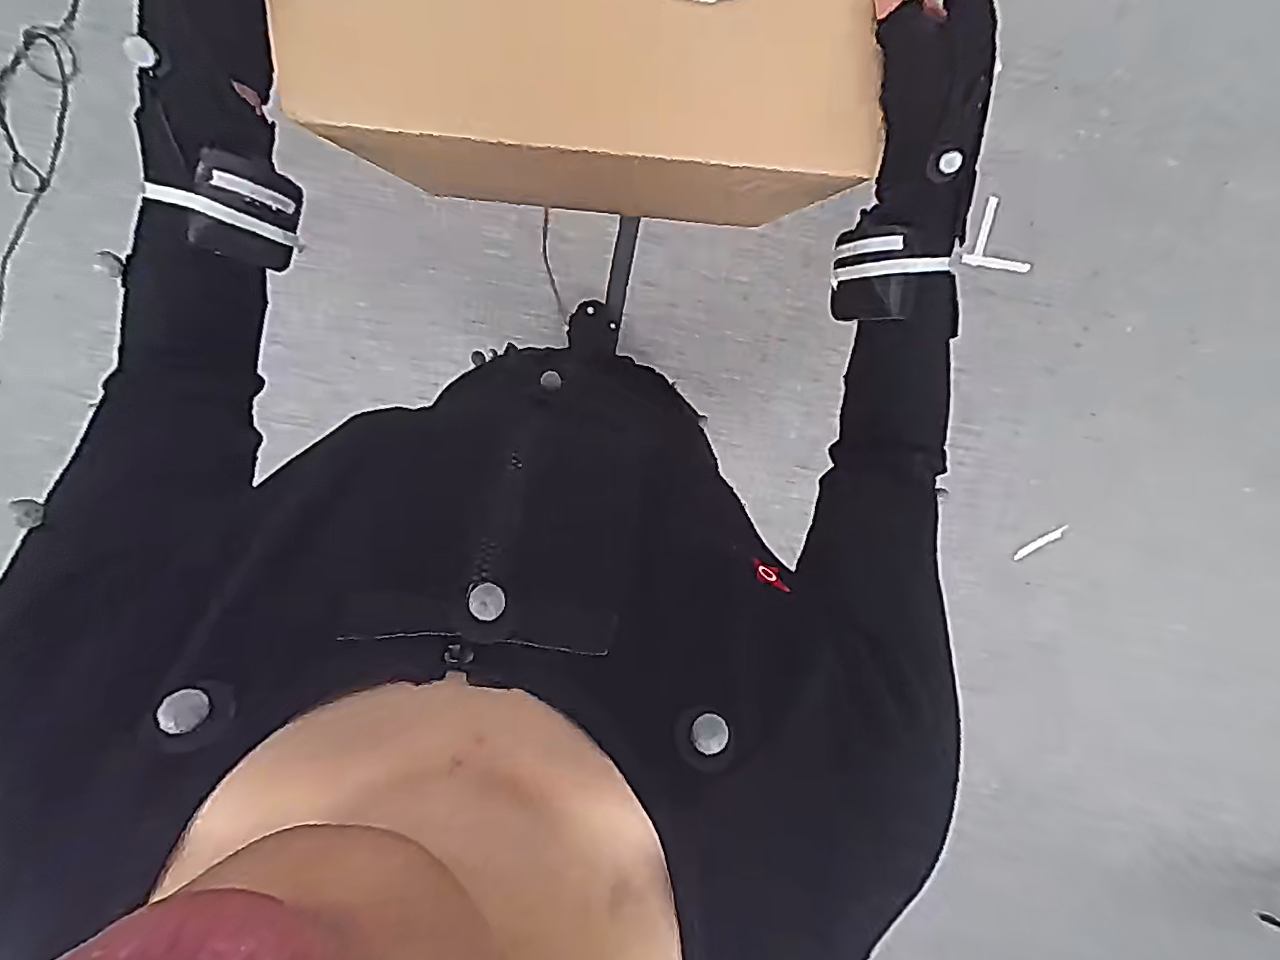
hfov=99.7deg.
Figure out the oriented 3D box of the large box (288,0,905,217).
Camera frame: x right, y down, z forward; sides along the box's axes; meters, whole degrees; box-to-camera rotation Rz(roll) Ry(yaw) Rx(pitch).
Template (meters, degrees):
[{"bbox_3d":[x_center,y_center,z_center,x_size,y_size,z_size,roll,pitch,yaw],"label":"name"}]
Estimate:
[{"bbox_3d":[-0.029,-0.426,0.464,0.408,0.320,0.320,2,110,-6],"label":"large box"}]
